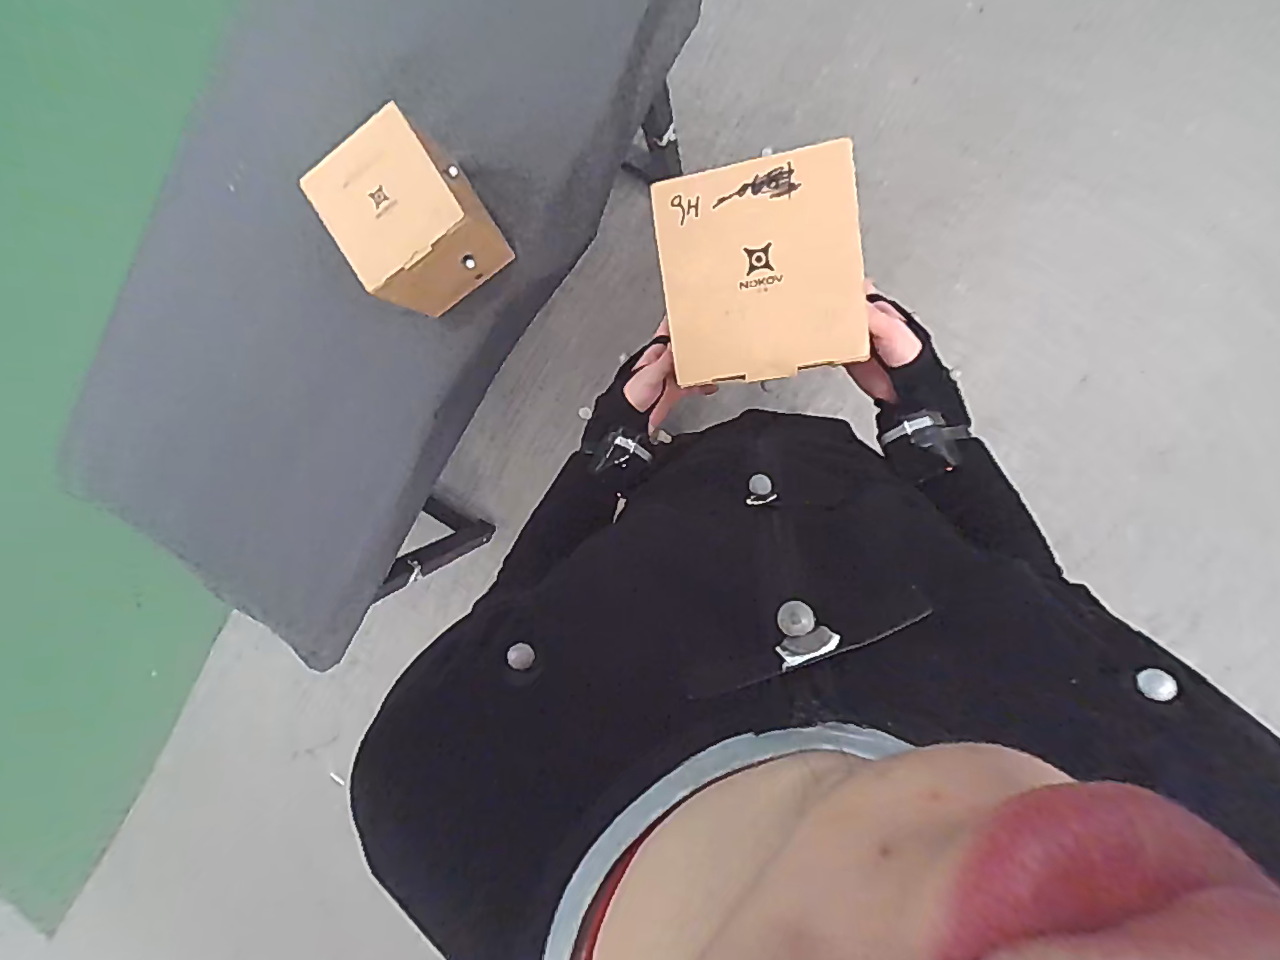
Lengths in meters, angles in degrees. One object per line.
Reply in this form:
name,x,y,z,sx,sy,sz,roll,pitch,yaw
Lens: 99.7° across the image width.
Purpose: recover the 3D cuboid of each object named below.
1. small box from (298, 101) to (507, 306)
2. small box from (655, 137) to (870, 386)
small box,-0.319,-0.367,0.764,0.168,0.176,0.179,-33,90,10
small box,0.116,-0.194,0.530,0.168,0.176,0.179,-7,100,10
